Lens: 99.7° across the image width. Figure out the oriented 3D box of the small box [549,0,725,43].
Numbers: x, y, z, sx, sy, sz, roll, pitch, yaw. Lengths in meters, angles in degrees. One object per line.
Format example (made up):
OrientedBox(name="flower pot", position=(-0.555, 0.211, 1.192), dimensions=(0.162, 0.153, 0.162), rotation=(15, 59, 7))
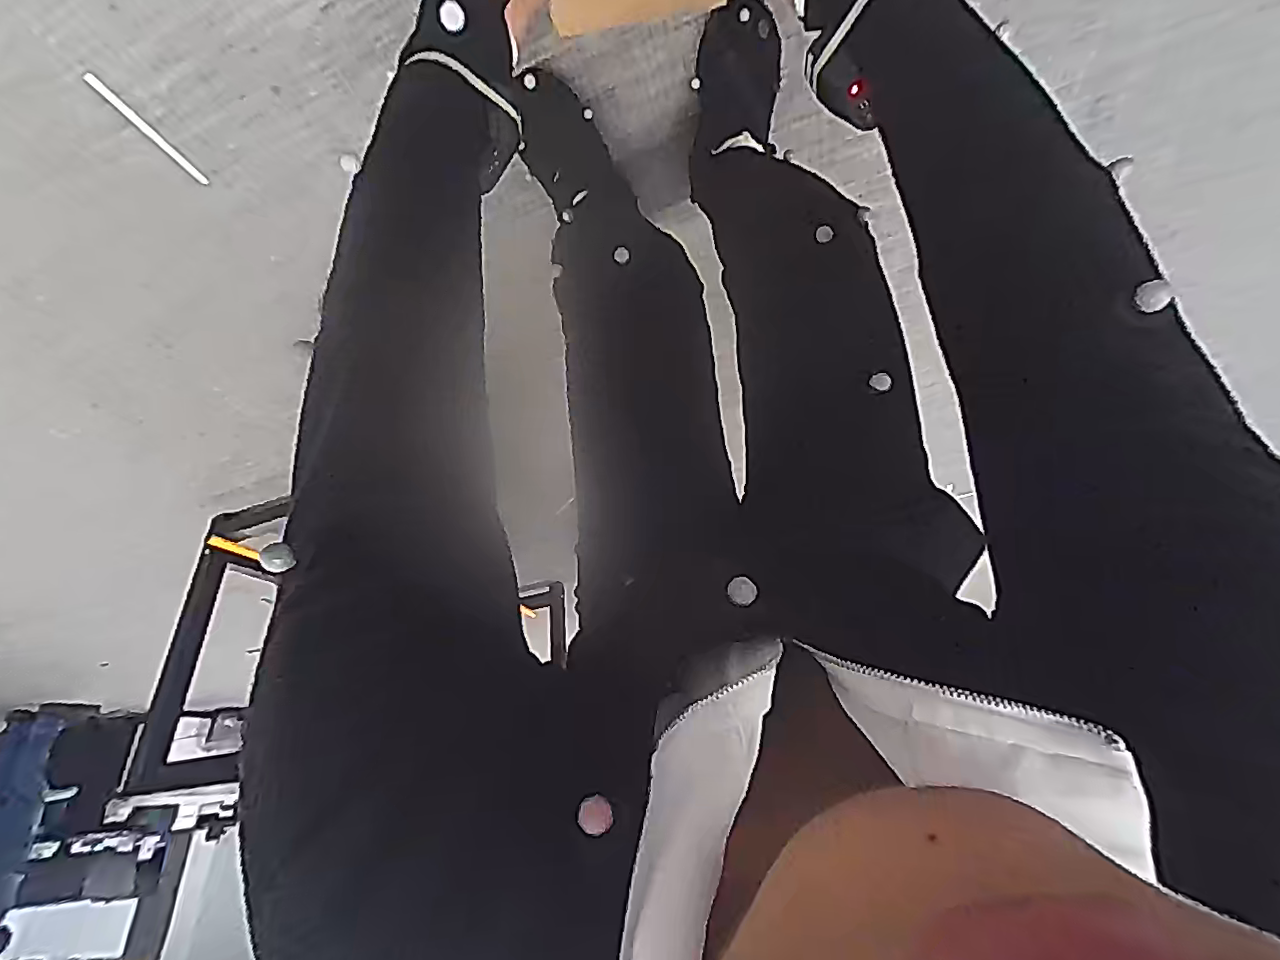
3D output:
OrientedBox(name="small box", position=(-0.017, -0.568, 0.519), dimensions=(0.179, 0.176, 0.168), rotation=(-8, 150, 2))
